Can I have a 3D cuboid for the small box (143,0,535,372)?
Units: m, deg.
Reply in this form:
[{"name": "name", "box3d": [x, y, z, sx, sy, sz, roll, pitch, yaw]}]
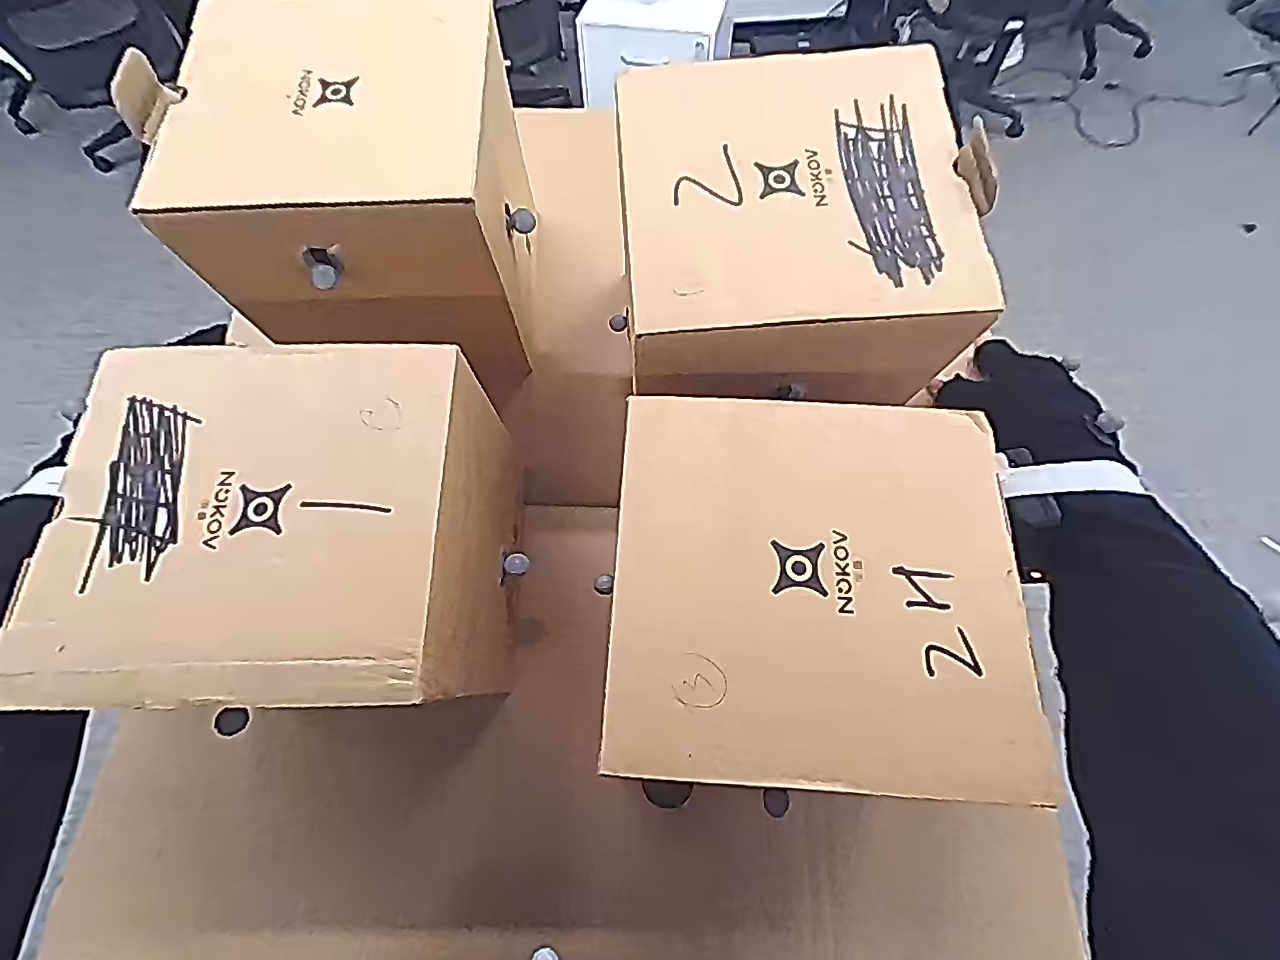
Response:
[{"name": "small box", "box3d": [-0.175, -0.190, 0.383, 0.179, 0.176, 0.168, -3, 70, 0]}]
